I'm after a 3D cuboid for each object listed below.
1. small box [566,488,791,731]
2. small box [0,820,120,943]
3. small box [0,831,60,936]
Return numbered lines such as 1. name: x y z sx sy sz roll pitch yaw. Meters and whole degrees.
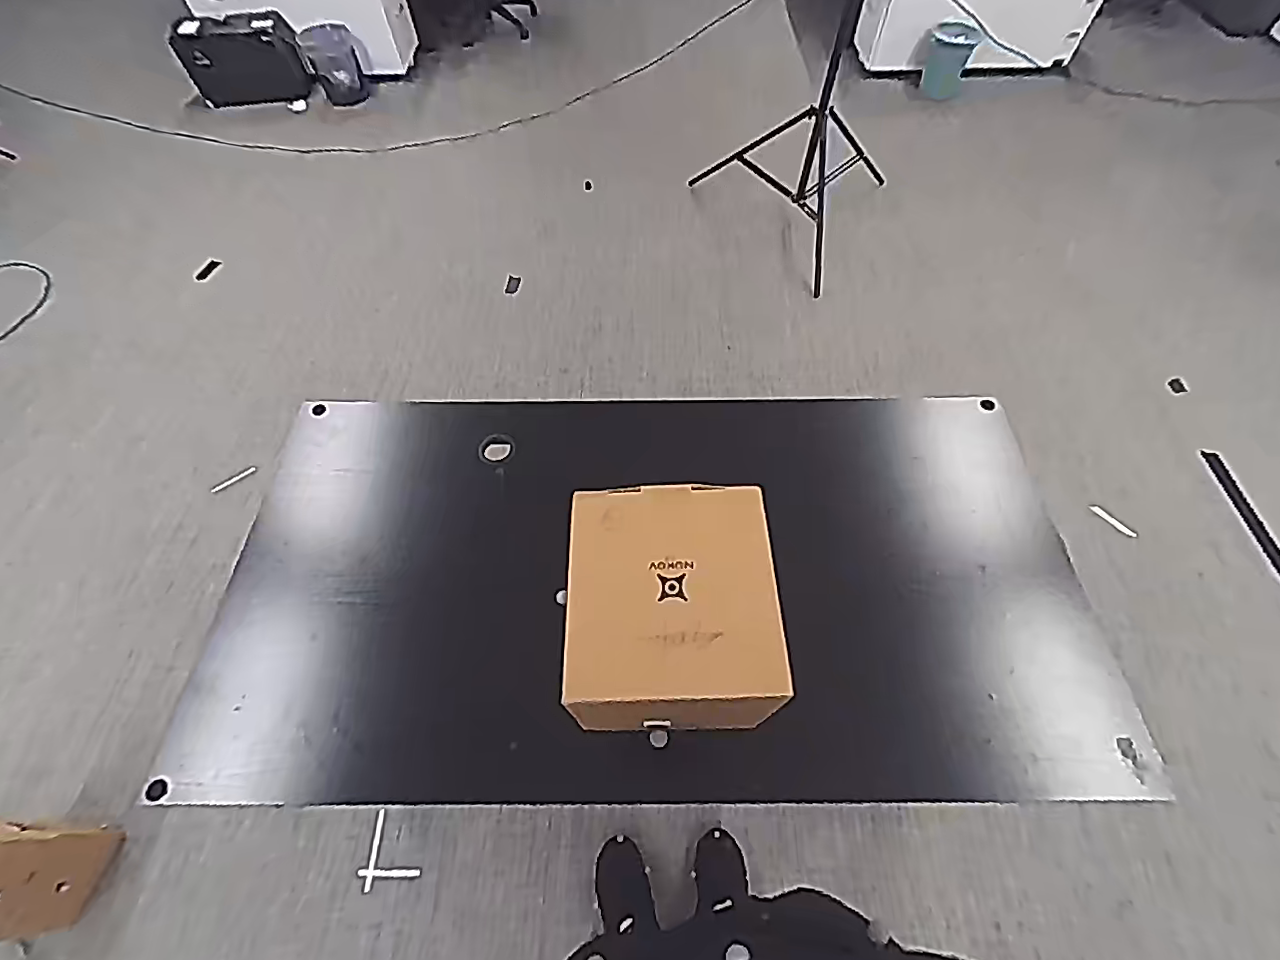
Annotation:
1. small box: 0.028 0.125 0.499 0.168 0.176 0.179 -2 59 1
2. small box: -1.258 0.823 1.127 0.168 0.176 0.179 7 59 5
3. small box: -1.250 0.742 0.984 0.179 0.176 0.168 4 57 4
